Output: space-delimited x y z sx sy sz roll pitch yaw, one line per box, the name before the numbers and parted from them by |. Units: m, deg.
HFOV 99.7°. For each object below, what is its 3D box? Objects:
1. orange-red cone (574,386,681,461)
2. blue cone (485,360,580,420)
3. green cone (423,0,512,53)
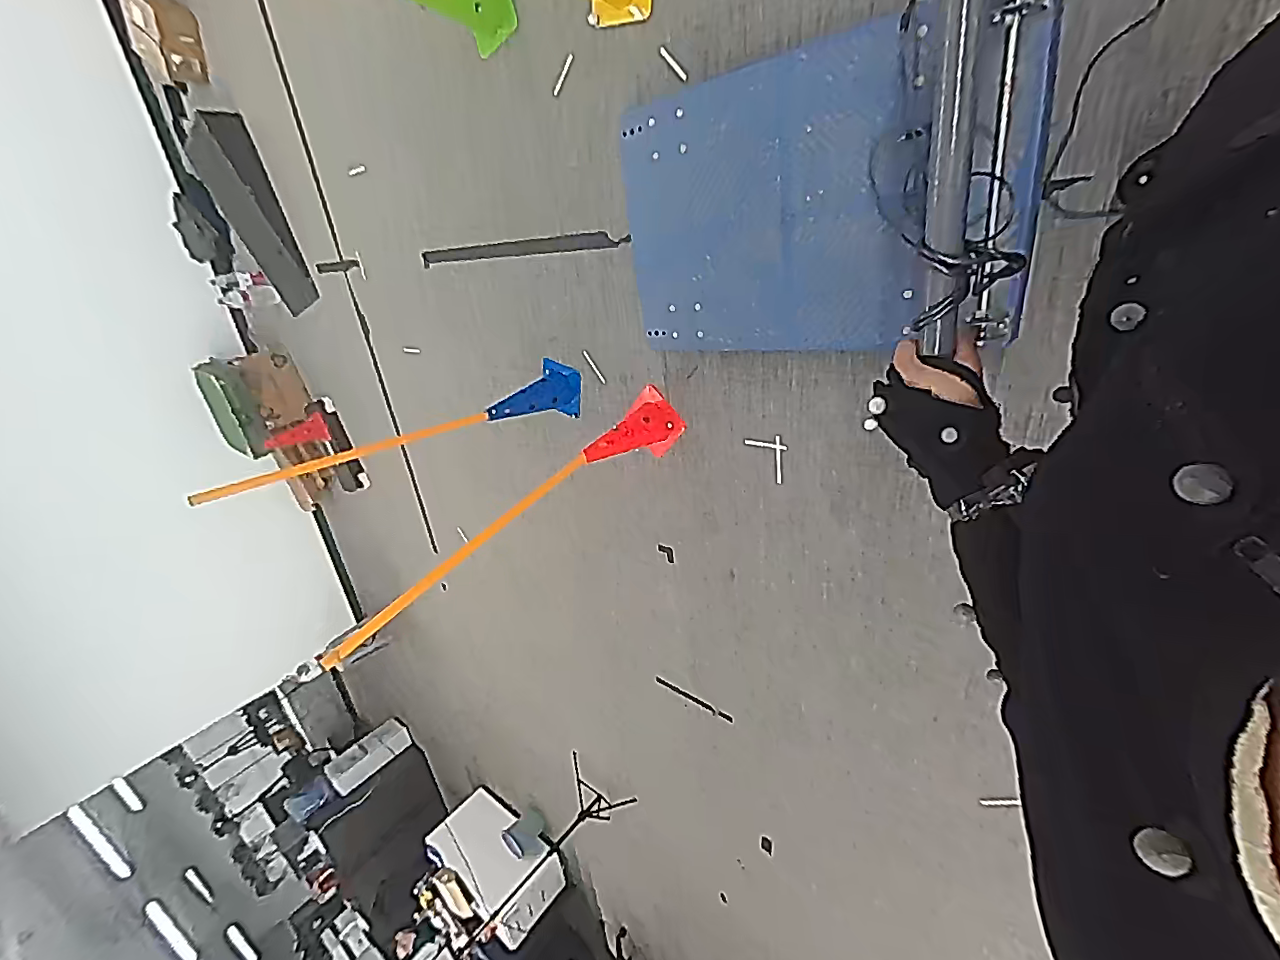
orange-red cone | -0.071 -0.136 1.722 0.199 0.360 0.198 53 136 9
blue cone | -0.407 -0.294 1.965 0.192 0.380 0.193 28 129 28
green cone | -0.573 -1.367 1.497 0.202 0.368 0.200 -3 110 42
